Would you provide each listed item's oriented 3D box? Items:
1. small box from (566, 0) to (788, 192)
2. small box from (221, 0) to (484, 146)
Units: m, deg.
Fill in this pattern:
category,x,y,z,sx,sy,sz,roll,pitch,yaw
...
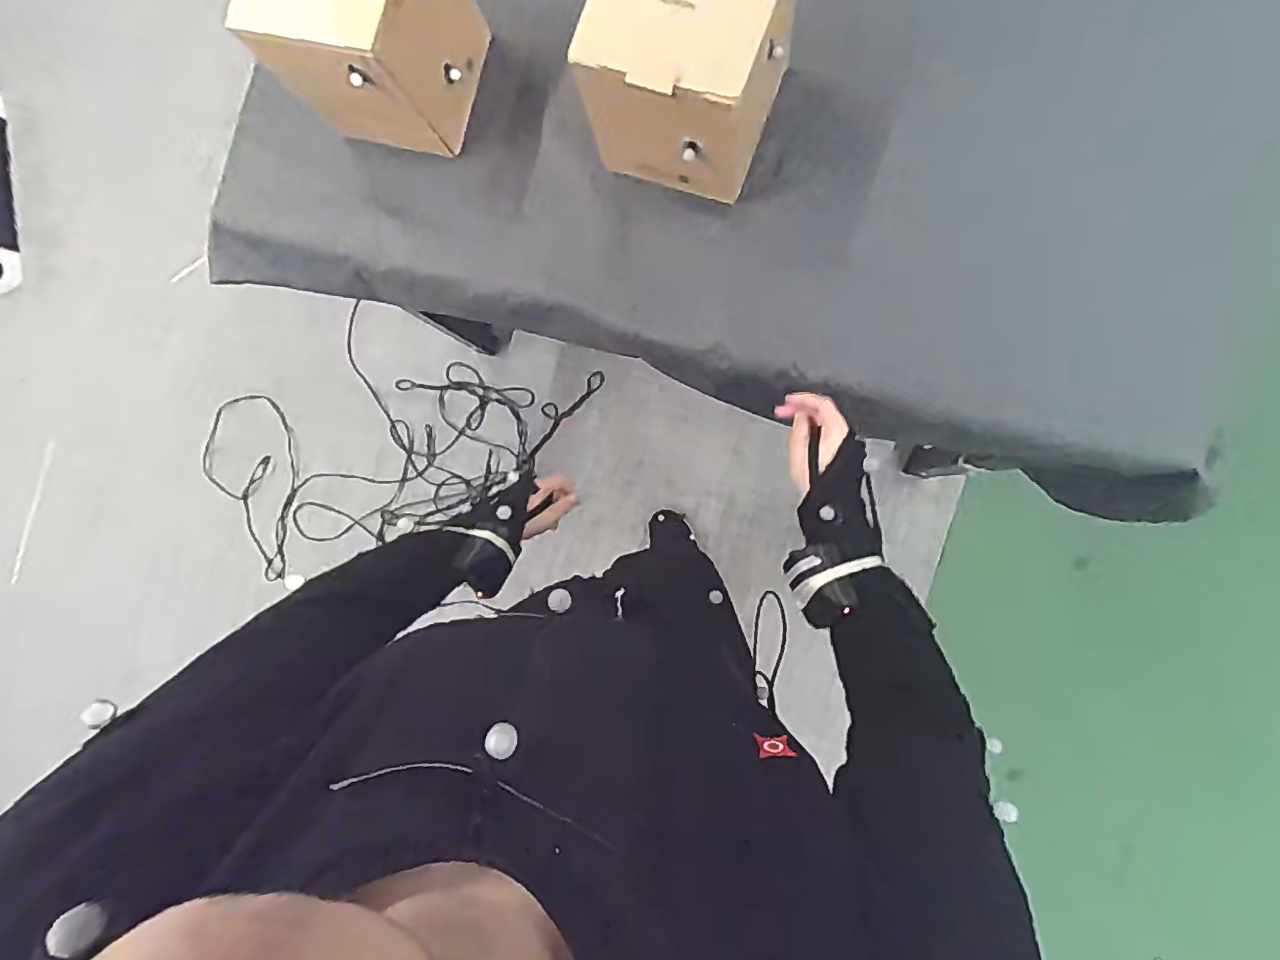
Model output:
category,x,y,z,sx,sy,sz,roll,pitch,yaw
small box,0.048,-0.433,0.551,0.168,0.176,0.179,20,91,8
small box,-0.306,-0.512,0.608,0.179,0.176,0.168,15,91,8
